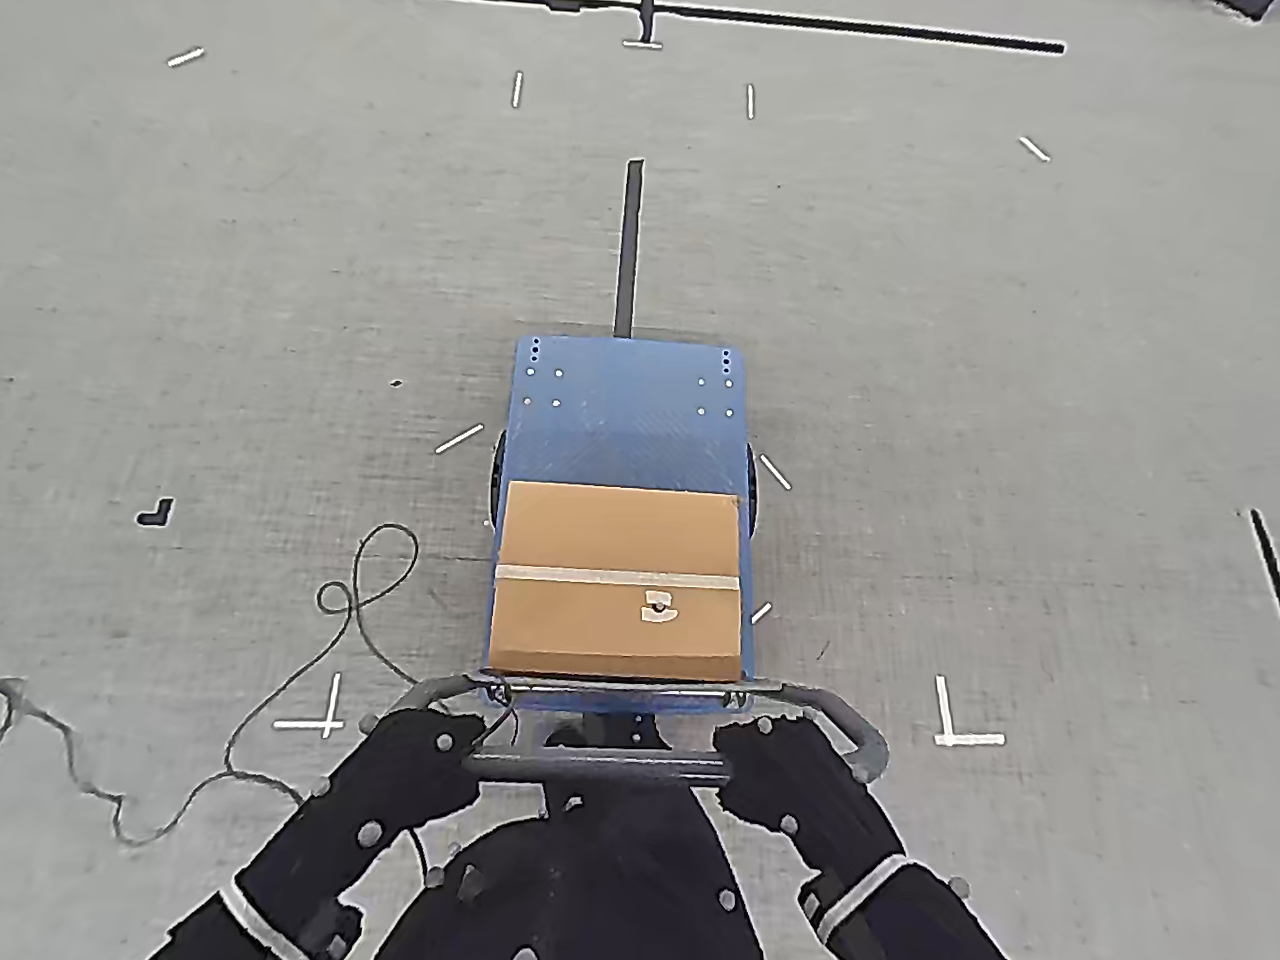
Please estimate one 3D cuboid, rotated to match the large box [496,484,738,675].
[{"bbox_3d":[-0.045,0.210,1.065,0.408,0.320,0.320,4,72,-4],"label":"large box"}]
